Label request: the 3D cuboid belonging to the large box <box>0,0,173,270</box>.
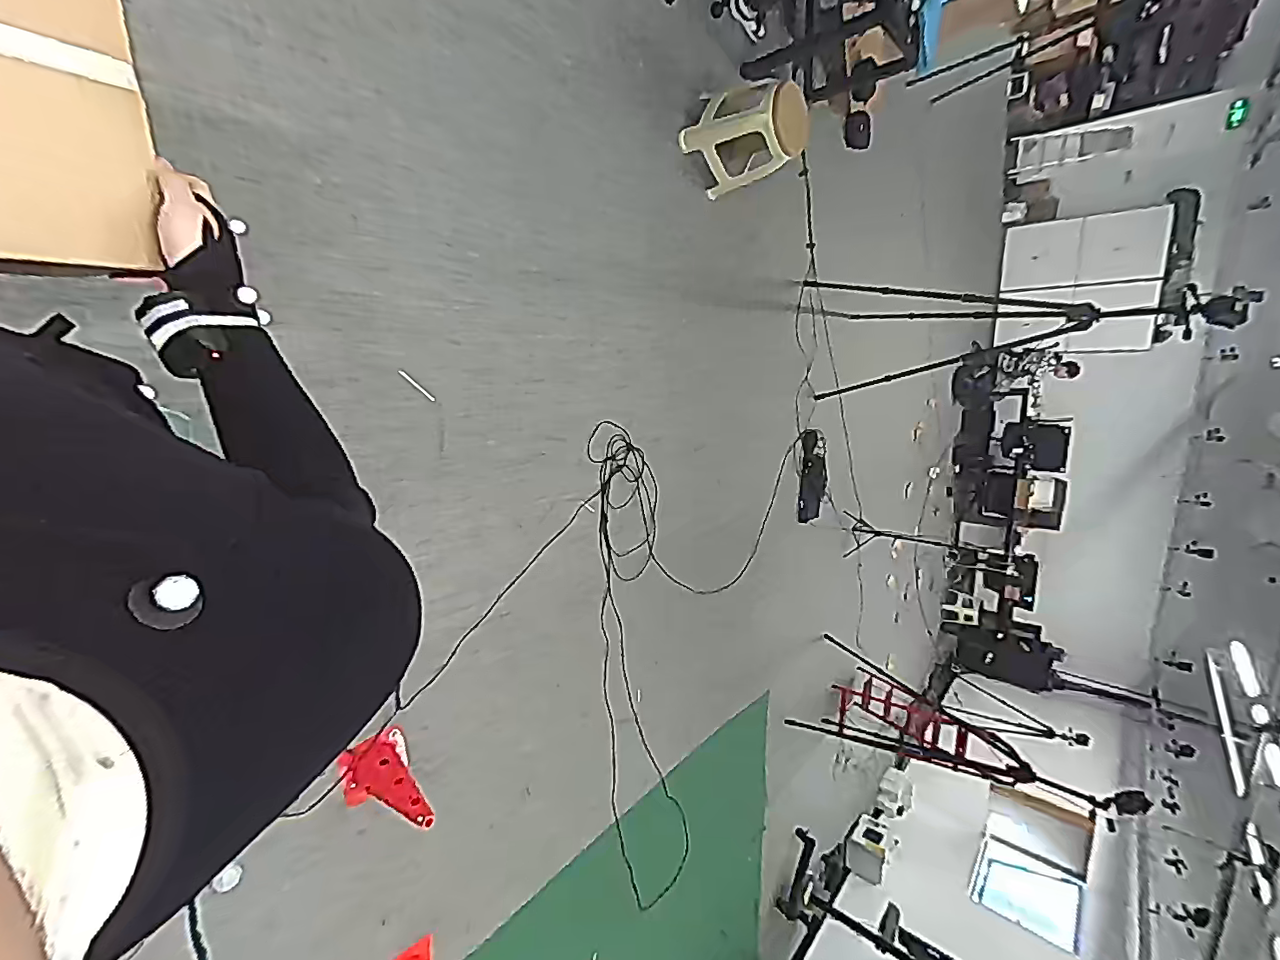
[{"bbox_3d":[-0.685,-0.336,0.401,0.408,0.320,0.320,-23,120,-53],"label":"large box"}]
